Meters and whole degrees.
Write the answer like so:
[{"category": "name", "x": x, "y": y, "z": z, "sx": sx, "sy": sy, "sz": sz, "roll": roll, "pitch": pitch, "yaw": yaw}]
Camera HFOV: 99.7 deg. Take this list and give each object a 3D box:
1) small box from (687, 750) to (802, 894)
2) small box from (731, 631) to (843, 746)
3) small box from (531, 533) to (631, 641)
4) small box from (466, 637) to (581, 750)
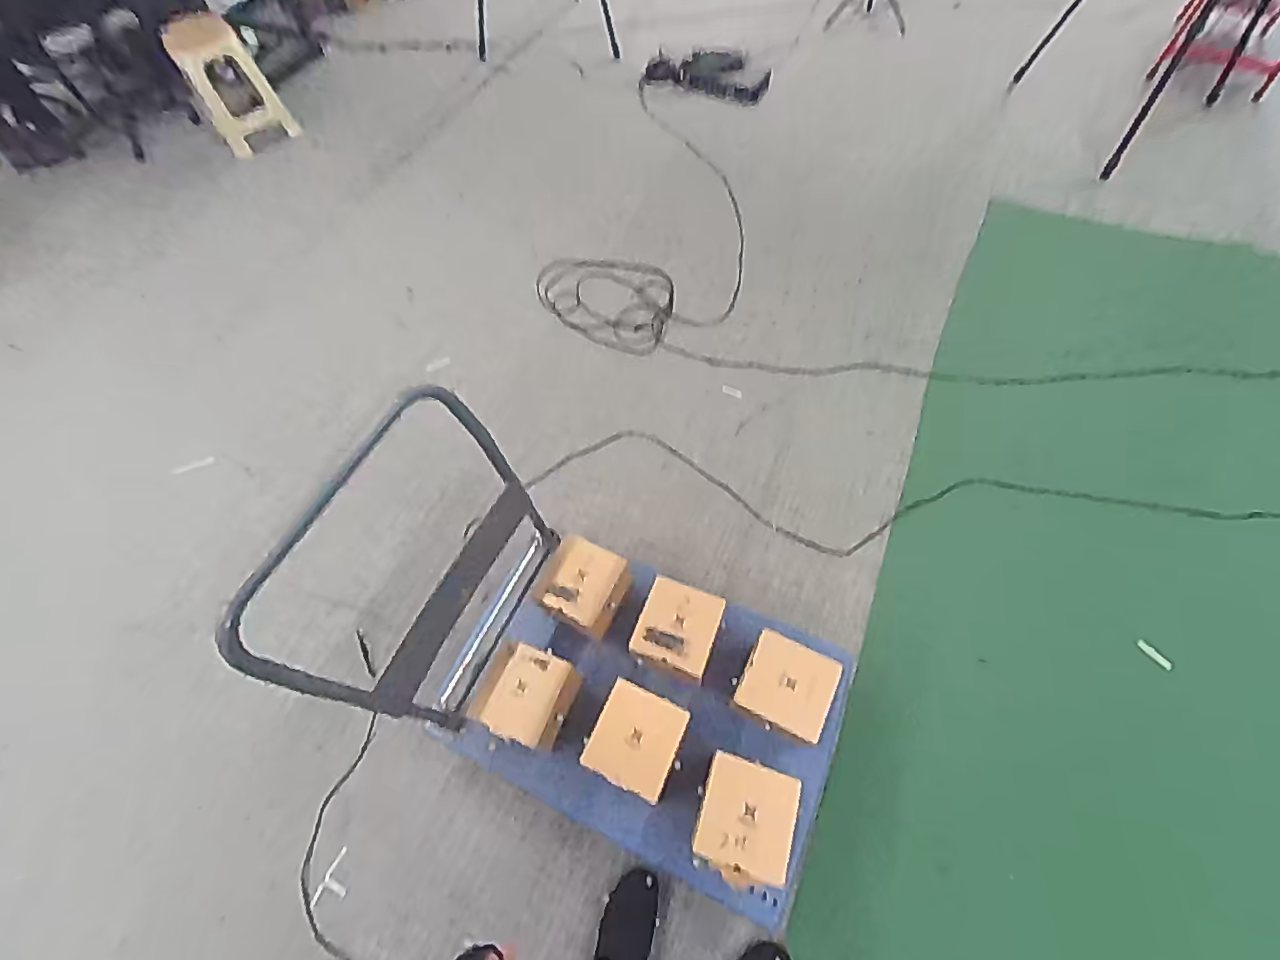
[{"category": "small box", "x": 0.199, "y": 0.656, "z": 1.056, "sx": 0.168, "sy": 0.176, "sz": 0.179, "roll": 20, "pitch": 65, "yaw": 18}, {"category": "small box", "x": 0.307, "y": 0.455, "z": 1.164, "sx": 0.179, "sy": 0.176, "sz": 0.168, "roll": 24, "pitch": 66, "yaw": 17}, {"category": "small box", "x": -0.131, "y": 0.263, "z": 1.299, "sx": 0.168, "sy": 0.176, "sz": 0.179, "roll": 24, "pitch": 65, "yaw": 15}, {"category": "small box", "x": -0.244, "y": 0.475, "z": 1.190, "sx": 0.168, "sy": 0.176, "sz": 0.179, "roll": 19, "pitch": 64, "yaw": 14}]
